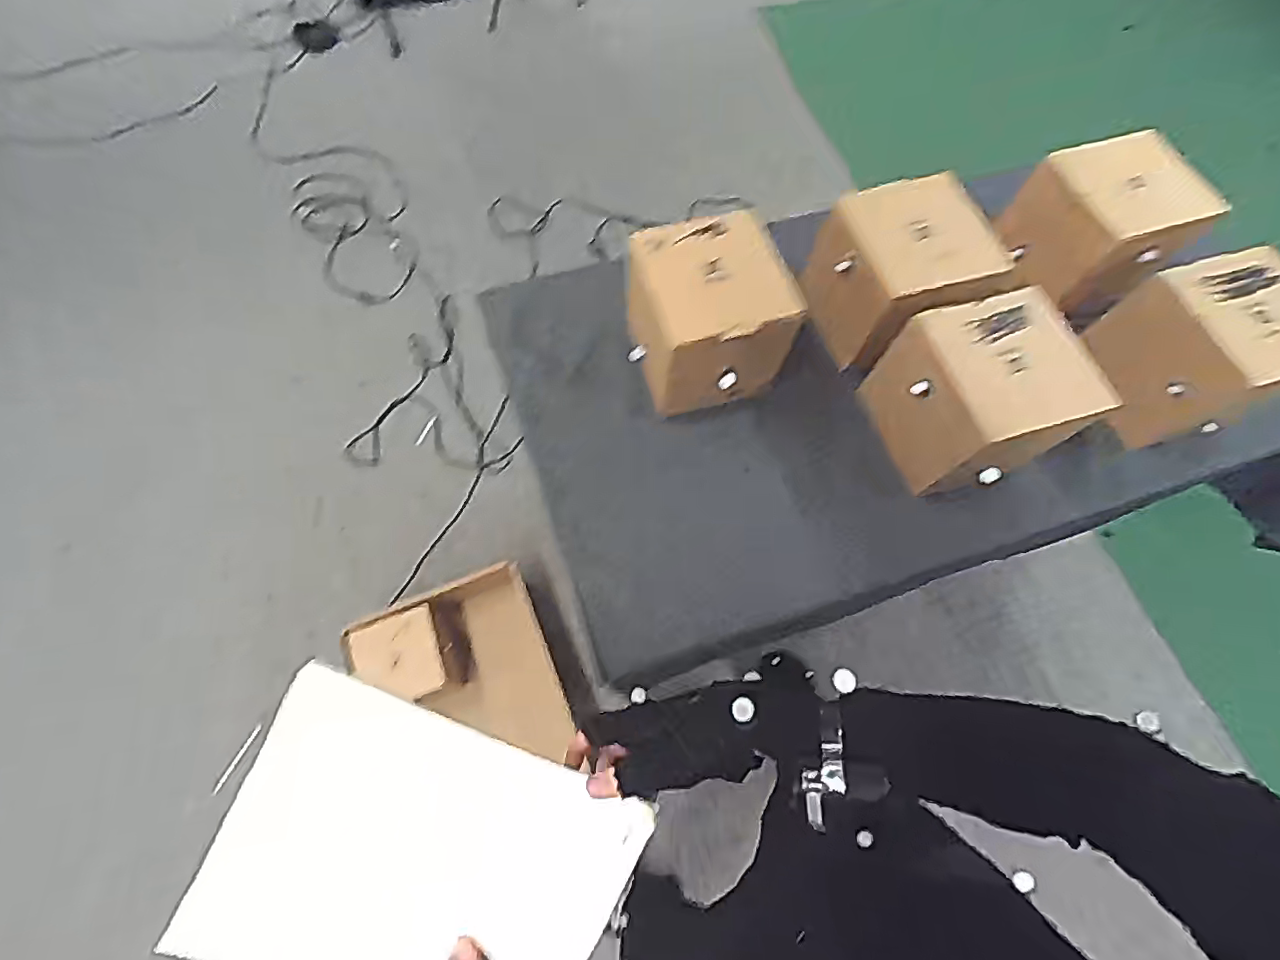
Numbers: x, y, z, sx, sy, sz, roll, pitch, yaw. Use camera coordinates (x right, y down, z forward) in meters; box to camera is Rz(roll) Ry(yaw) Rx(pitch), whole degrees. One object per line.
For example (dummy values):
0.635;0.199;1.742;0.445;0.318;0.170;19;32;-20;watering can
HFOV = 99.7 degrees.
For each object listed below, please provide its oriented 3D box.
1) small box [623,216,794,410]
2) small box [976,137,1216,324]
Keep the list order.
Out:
0.079;-0.210;0.723;0.168;0.176;0.179;-15;69;-8;small box
0.657;-0.363;0.806;0.179;0.176;0.168;-17;68;-8;small box
